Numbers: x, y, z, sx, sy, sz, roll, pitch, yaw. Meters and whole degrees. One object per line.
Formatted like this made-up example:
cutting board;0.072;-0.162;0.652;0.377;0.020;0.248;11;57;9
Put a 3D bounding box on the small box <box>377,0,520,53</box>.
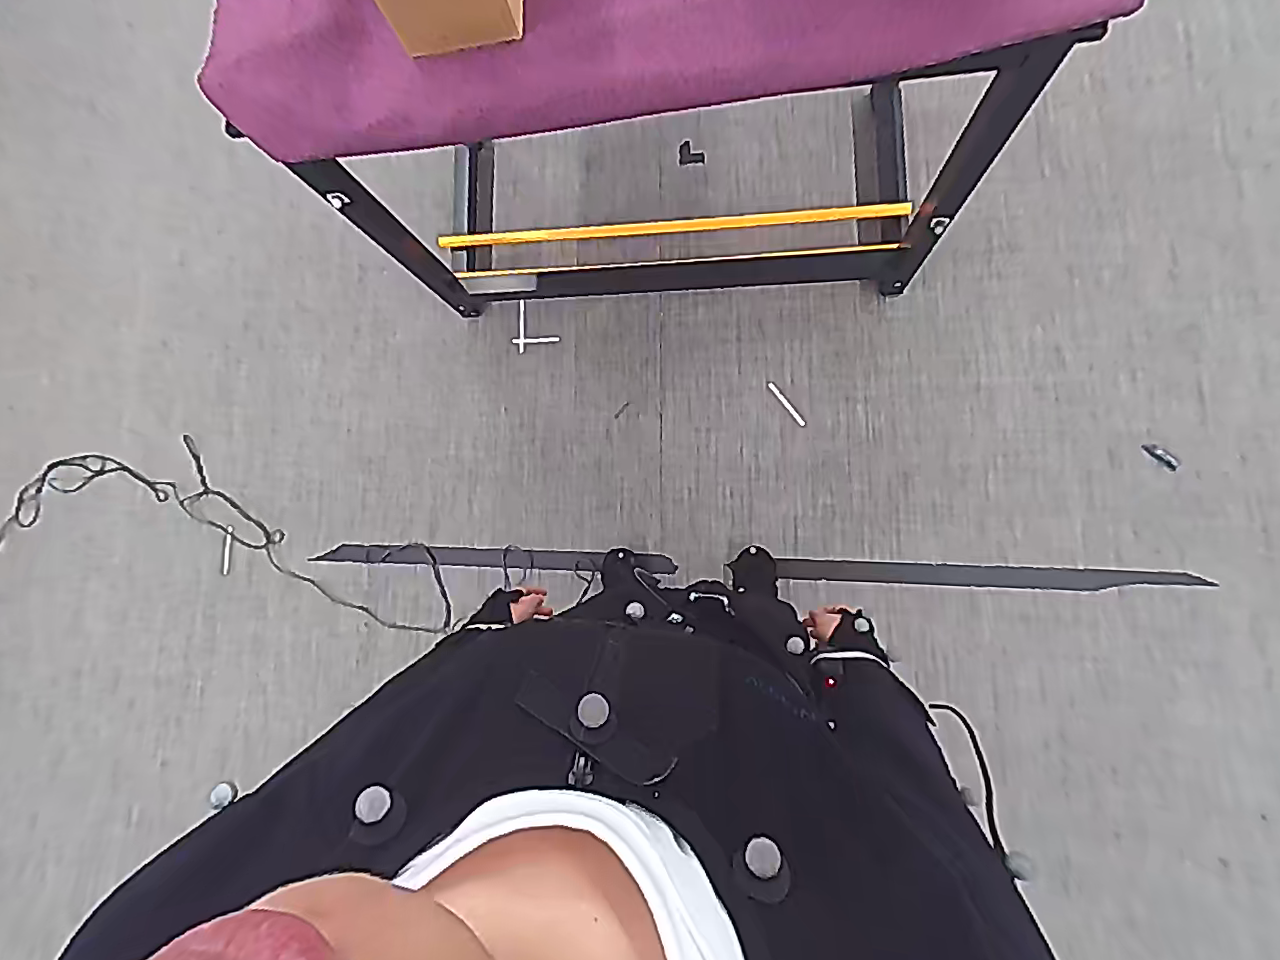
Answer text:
small box;-0.261;-0.708;0.704;0.179;0.176;0.168;-2;83;9
